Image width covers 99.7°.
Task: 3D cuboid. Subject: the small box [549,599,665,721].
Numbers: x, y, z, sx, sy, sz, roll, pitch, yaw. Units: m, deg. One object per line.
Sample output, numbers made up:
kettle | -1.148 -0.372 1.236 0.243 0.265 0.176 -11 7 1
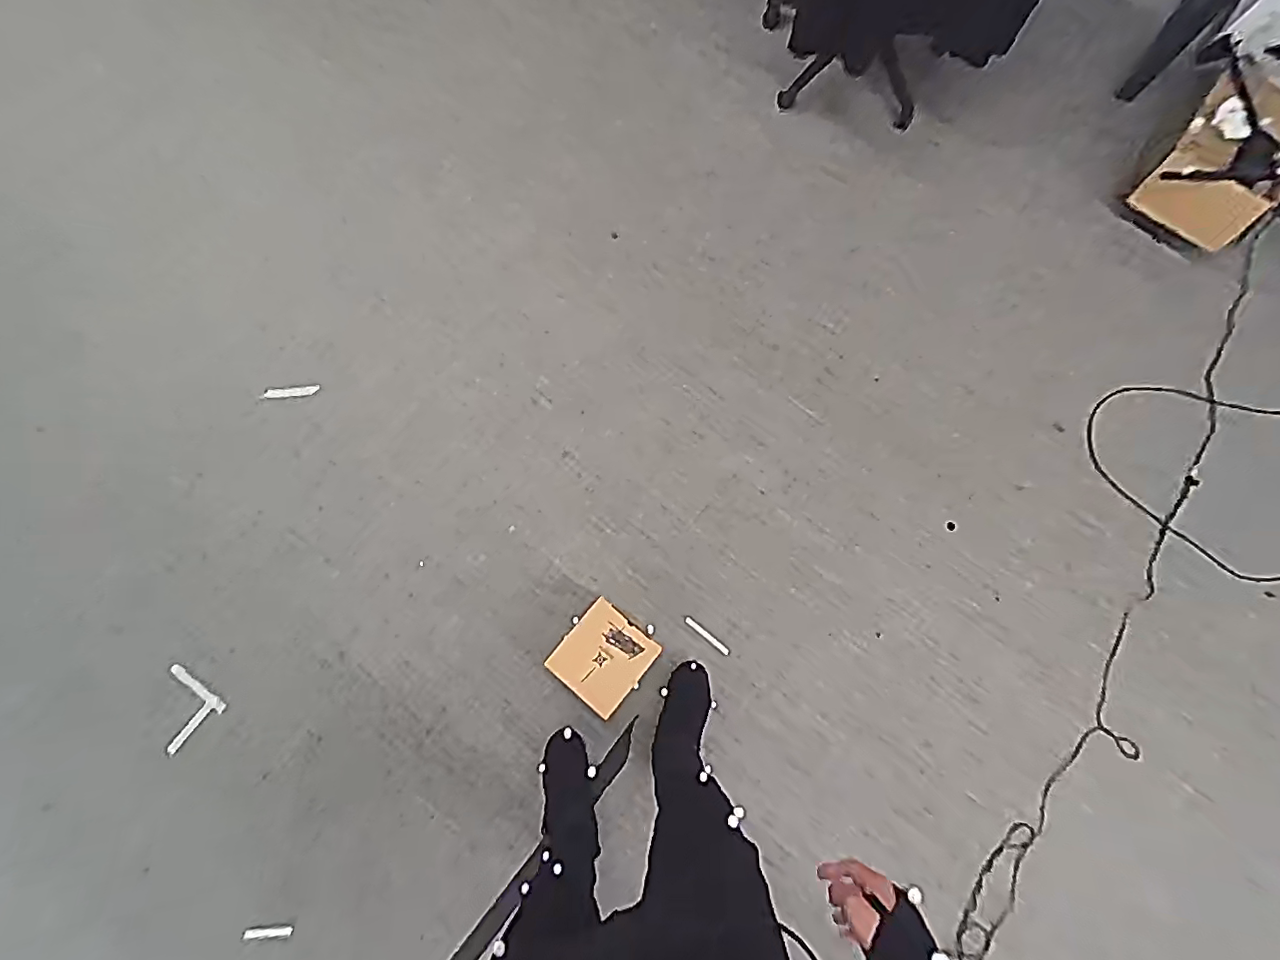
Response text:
small box | -0.068 0.370 1.146 0.168 0.176 0.179 40 80 8
